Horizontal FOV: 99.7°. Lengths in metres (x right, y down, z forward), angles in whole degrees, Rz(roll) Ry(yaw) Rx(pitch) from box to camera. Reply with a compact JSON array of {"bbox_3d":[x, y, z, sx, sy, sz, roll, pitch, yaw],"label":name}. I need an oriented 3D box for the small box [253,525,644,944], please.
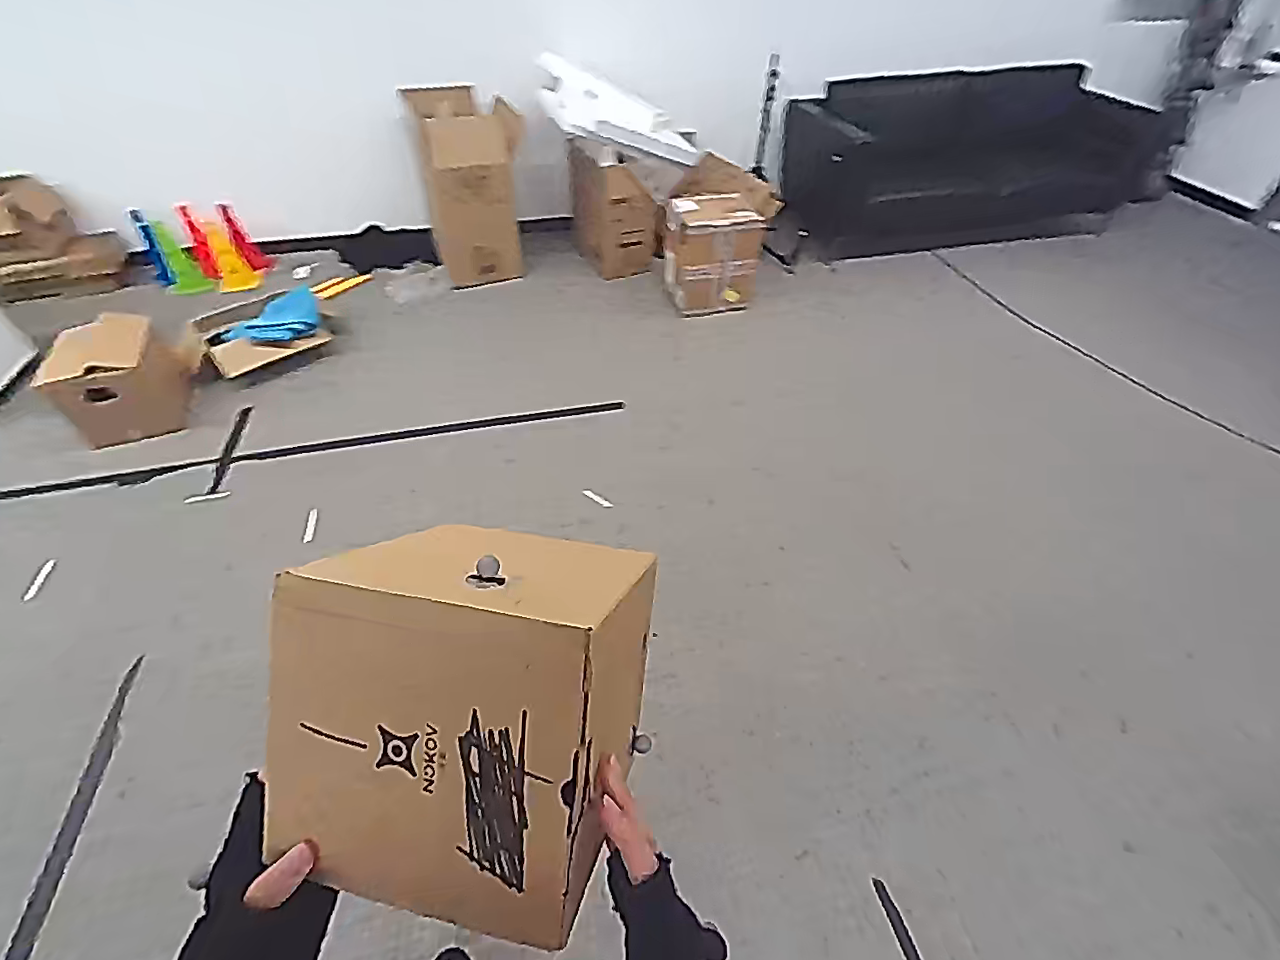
[{"bbox_3d":[-0.100,0.127,0.346,0.179,0.168,0.176,7,5,12],"label":"small box"}]
